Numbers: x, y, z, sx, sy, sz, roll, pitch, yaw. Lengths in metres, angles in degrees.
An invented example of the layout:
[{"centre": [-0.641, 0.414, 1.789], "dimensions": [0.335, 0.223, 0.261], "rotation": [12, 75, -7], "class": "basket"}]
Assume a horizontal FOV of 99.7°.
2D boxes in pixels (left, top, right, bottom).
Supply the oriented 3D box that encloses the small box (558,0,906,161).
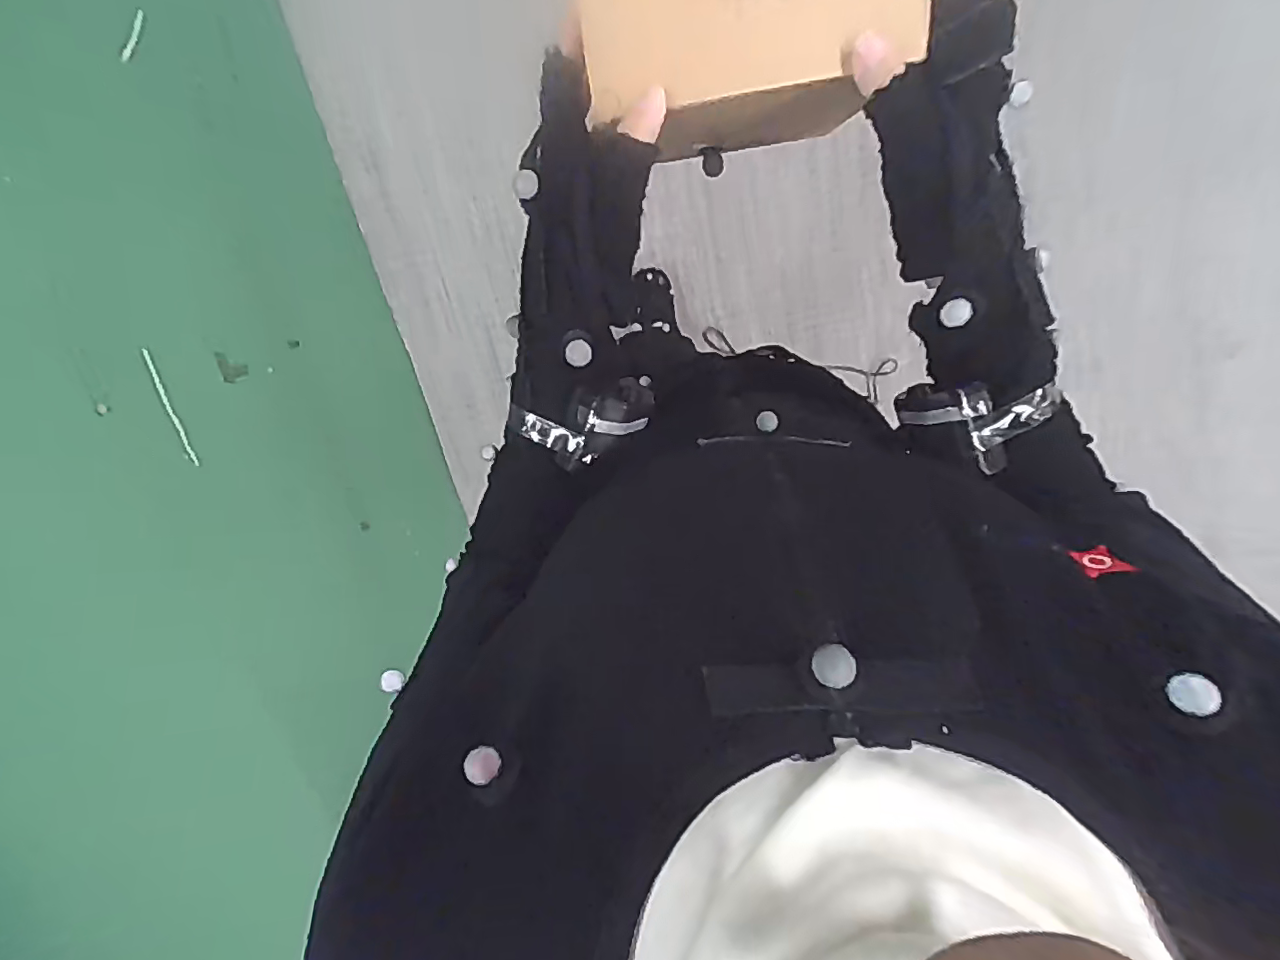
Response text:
[{"centre": [0.039, -0.306, 0.310], "dimensions": [0.168, 0.176, 0.179], "rotation": [-6, 112, 5], "class": "small box"}]
